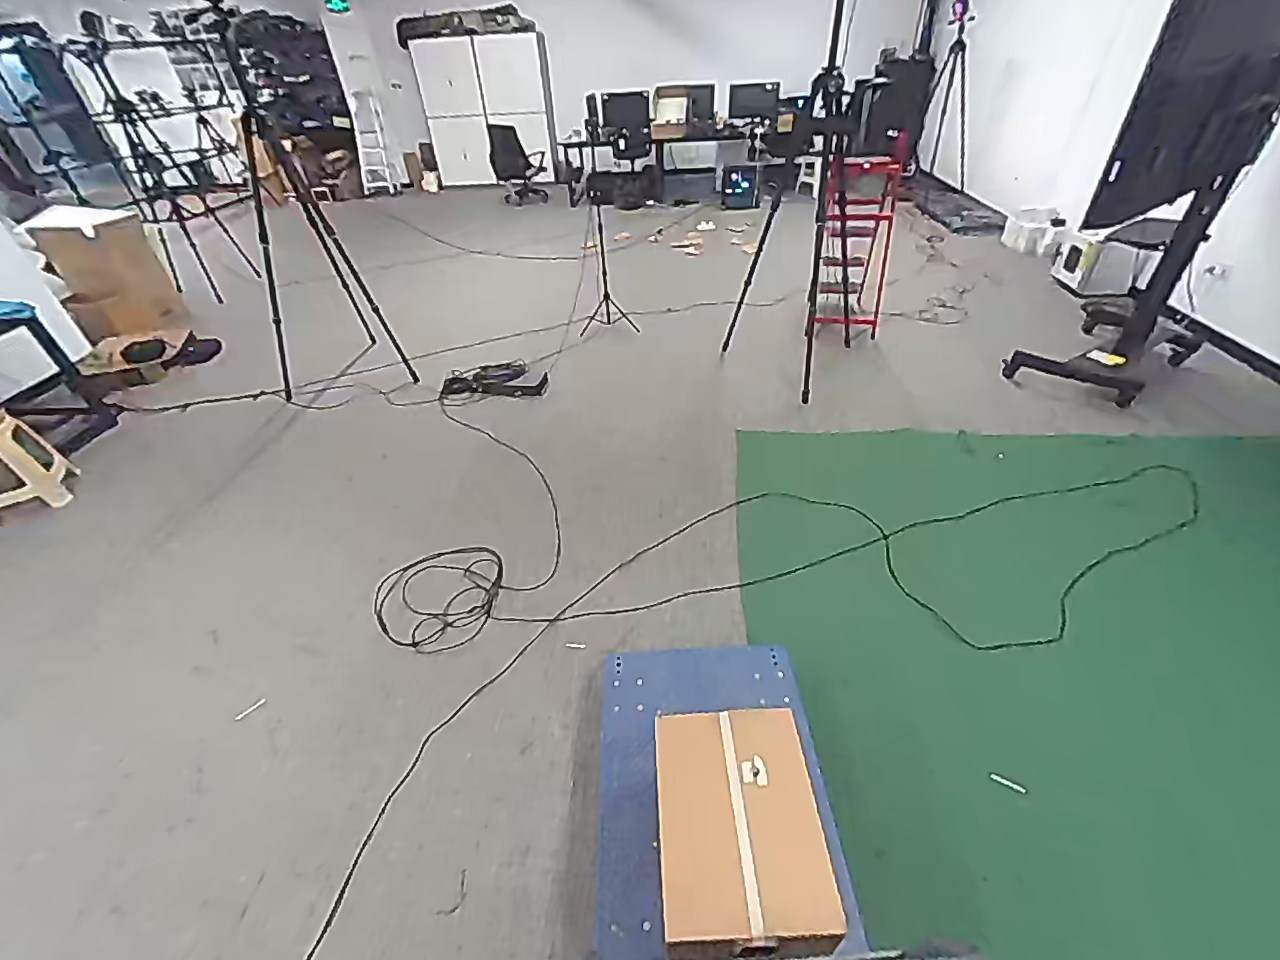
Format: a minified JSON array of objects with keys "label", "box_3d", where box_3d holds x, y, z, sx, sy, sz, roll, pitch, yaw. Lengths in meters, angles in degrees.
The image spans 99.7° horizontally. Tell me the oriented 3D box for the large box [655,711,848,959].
[{"label":"large box","box_3d":[0.204,0.773,1.158,0.320,0.320,0.408,-3,37,0]}]
